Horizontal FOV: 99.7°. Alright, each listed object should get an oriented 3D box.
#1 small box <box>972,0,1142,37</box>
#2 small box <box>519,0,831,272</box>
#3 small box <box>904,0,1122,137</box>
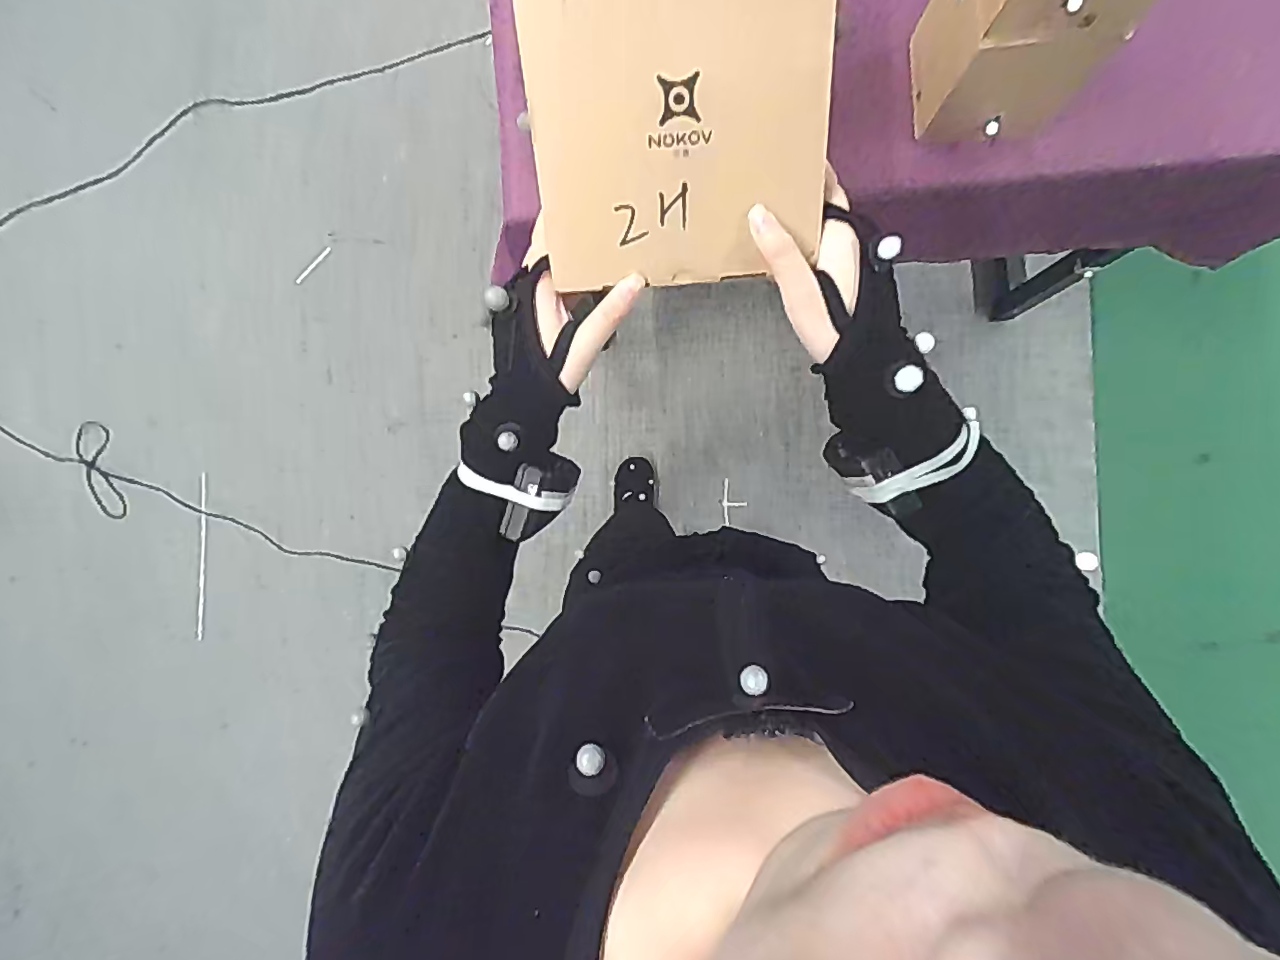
[{"bbox_3d":[0.467,-0.609,0.554,0.168,0.176,0.179,-1,88,3],"label":"small box"},{"bbox_3d":[0.021,-0.248,0.370,0.168,0.176,0.179,-3,117,4],"label":"small box"},{"bbox_3d":[0.477,-0.588,0.716,0.179,0.176,0.168,-1,86,2],"label":"small box"}]
